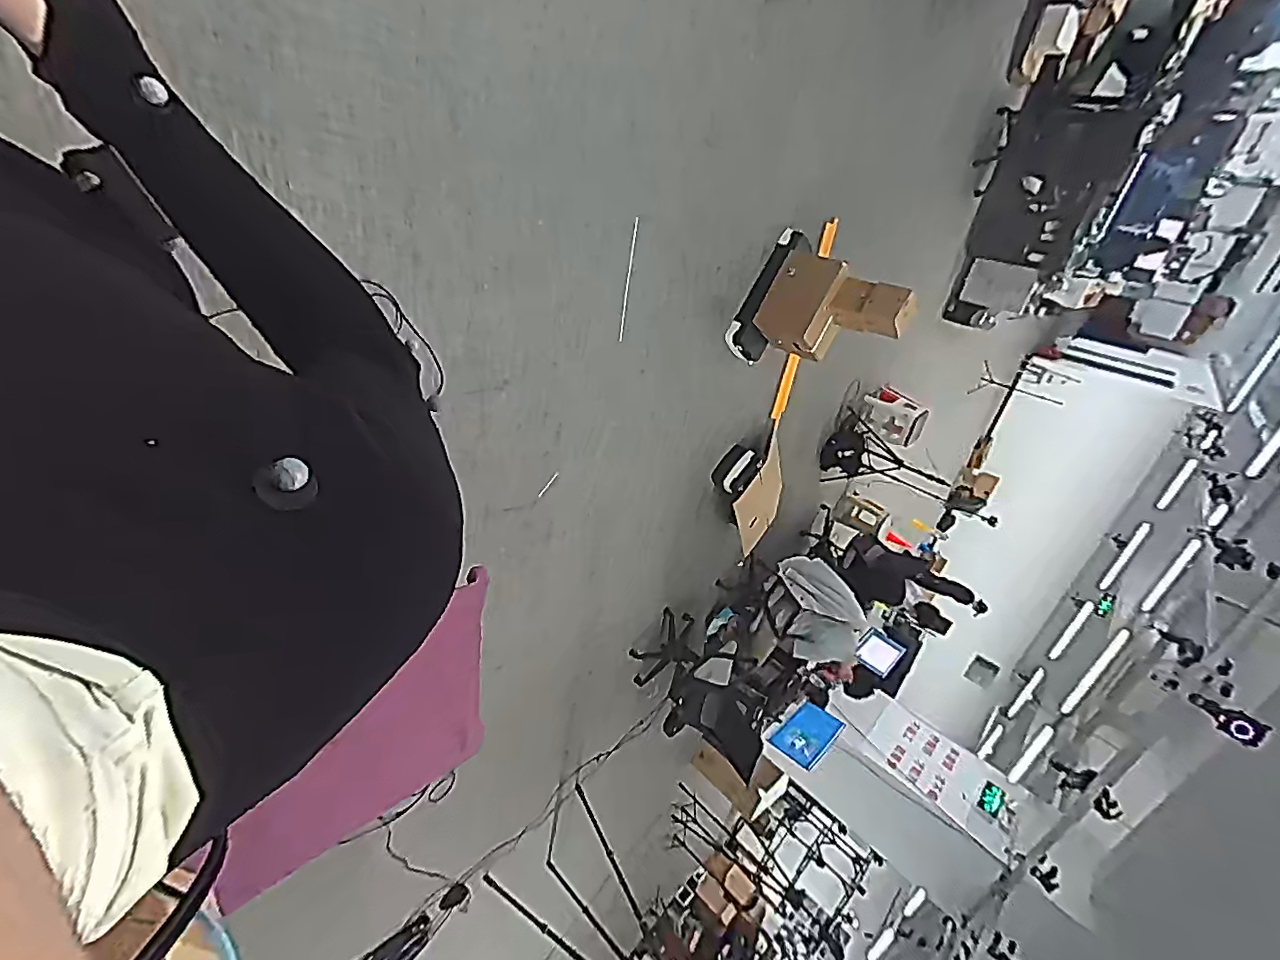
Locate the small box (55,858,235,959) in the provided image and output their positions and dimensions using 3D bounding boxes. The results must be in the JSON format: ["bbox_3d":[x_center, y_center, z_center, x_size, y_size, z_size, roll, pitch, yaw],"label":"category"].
[{"bbox_3d":[-0.880,0.825,0.966,0.168,0.176,0.179,-36,140,-29],"label":"small box"}]
